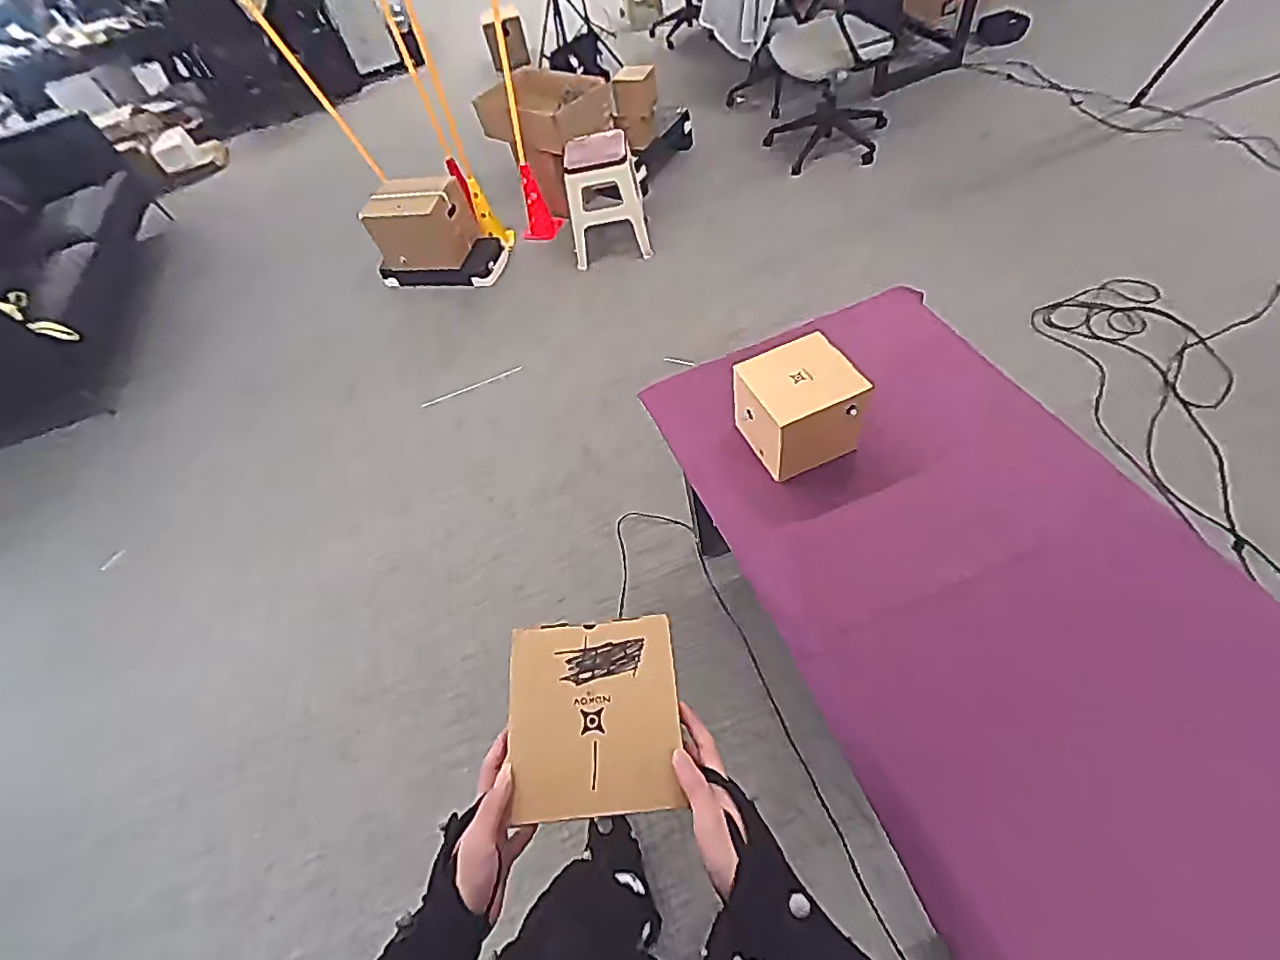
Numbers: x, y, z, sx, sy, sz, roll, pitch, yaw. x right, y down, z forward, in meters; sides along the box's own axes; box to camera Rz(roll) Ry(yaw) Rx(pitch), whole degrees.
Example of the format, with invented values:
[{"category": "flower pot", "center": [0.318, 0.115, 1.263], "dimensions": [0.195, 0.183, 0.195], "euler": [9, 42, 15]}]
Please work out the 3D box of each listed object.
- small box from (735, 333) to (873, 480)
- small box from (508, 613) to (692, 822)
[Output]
[{"category": "small box", "center": [0.289, -0.128, 0.985], "dimensions": [0.179, 0.176, 0.168], "euler": [-23, 54, -6]}, {"category": "small box", "center": [-0.038, 0.260, 0.586], "dimensions": [0.168, 0.176, 0.179], "euler": [-6, 60, 0]}]
